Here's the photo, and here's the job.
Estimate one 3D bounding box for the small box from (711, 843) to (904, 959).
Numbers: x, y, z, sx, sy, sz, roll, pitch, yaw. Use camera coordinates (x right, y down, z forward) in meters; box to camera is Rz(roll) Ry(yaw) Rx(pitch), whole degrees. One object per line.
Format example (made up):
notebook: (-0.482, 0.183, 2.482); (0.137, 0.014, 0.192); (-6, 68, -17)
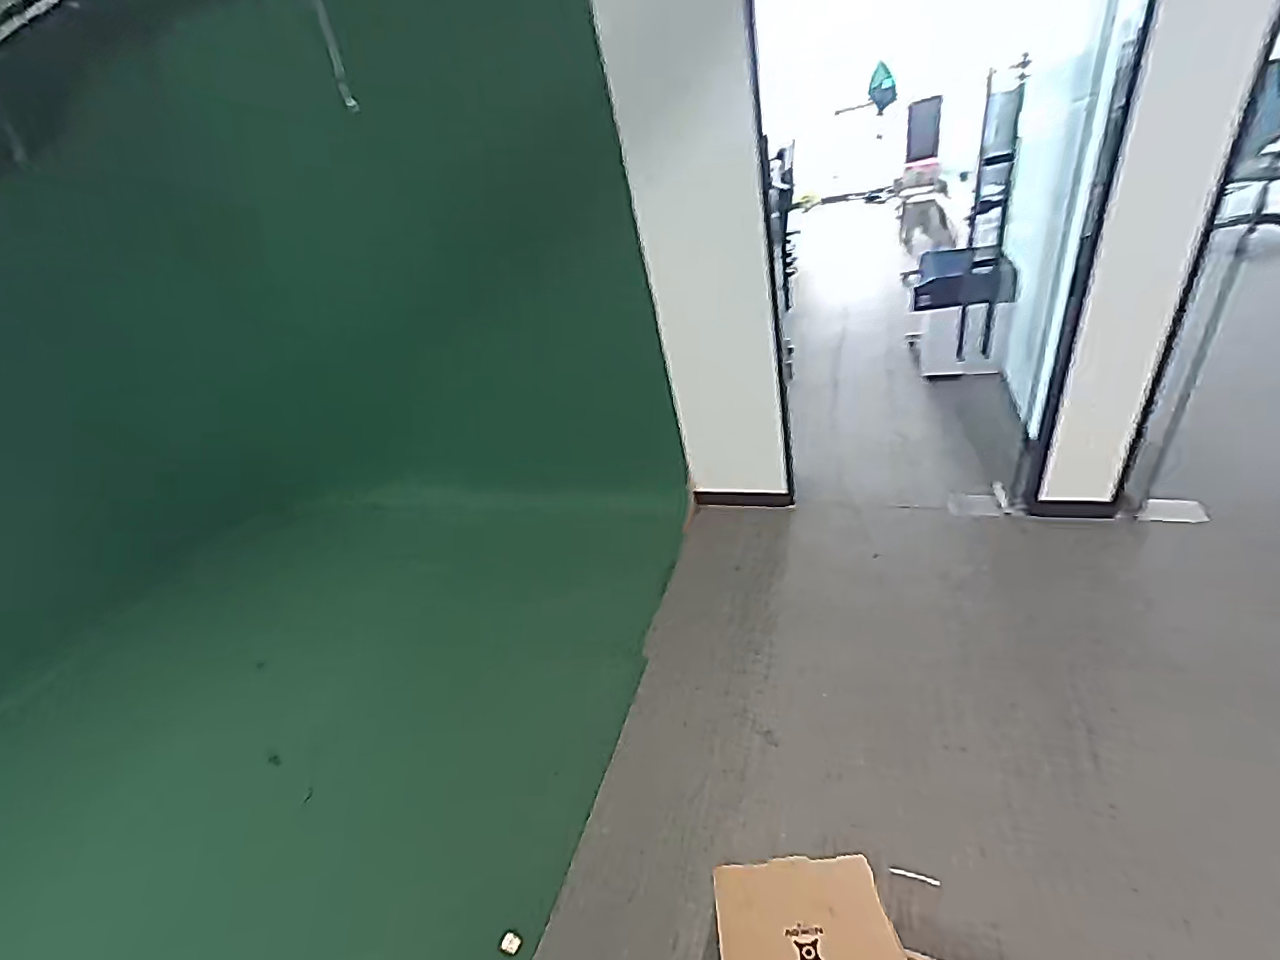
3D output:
small box: (0.167, 0.506, 0.531); (0.168, 0.176, 0.179); (-9, 11, 4)
